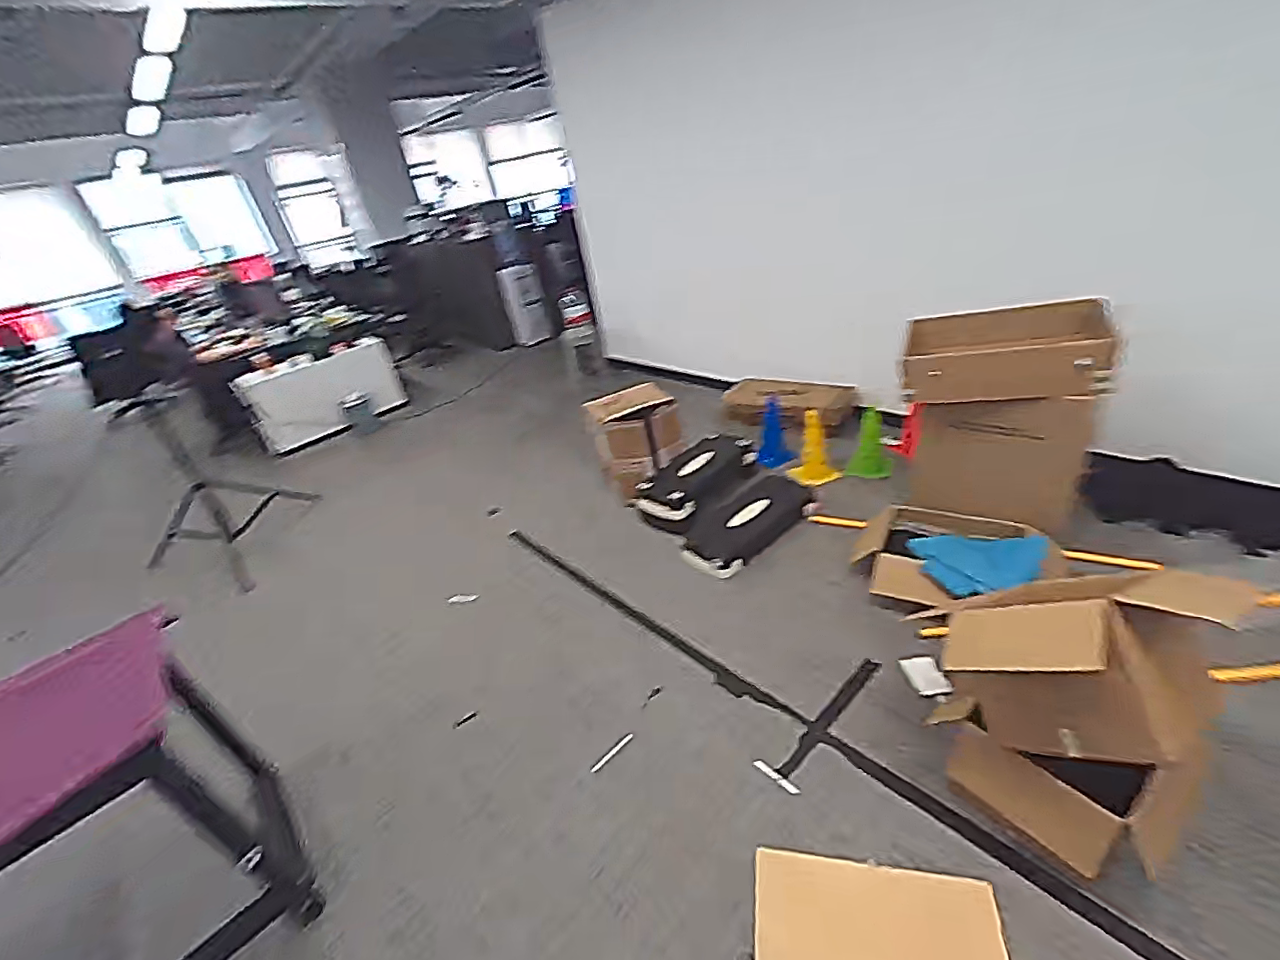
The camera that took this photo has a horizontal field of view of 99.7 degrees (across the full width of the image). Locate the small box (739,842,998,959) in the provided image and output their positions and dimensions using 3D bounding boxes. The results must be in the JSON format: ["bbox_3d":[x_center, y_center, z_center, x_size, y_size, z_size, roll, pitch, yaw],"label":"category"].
[{"bbox_3d":[0.164,0.409,0.409,0.179,0.176,0.168,1,37,12],"label":"small box"}]
